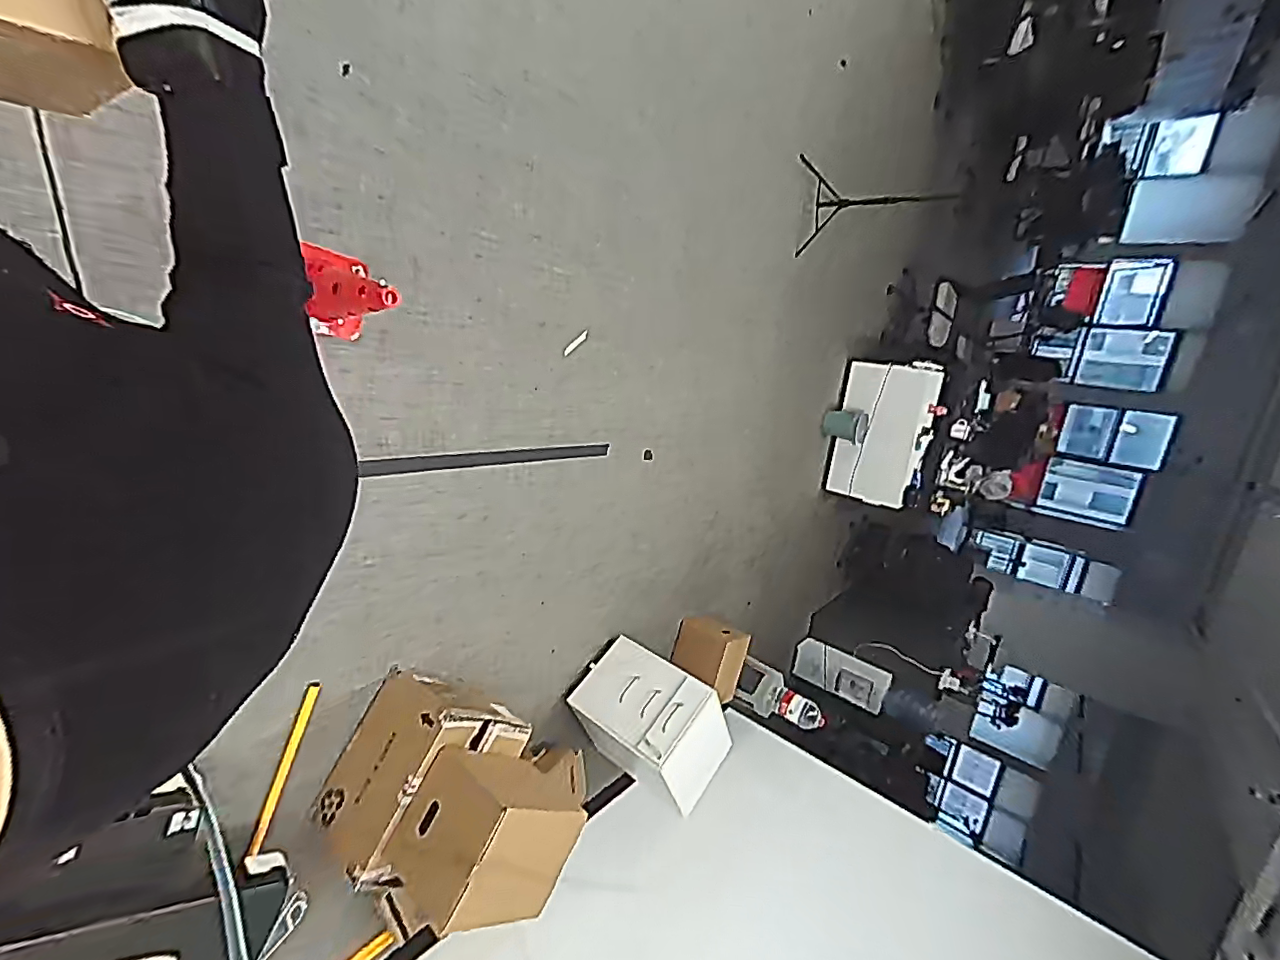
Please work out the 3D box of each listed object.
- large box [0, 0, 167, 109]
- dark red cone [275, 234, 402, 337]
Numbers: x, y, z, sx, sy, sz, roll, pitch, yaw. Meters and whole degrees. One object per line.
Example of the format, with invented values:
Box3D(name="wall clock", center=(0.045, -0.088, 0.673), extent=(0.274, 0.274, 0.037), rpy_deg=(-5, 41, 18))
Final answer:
Box3D(name="large box", center=(-0.553, -0.431, 0.259), extent=(0.408, 0.320, 0.320), rpy_deg=(-18, 120, -50))
Box3D(name="dark red cone", center=(-0.635, -0.417, 1.198), extent=(0.201, 0.394, 0.202), rpy_deg=(1, 103, -51))
